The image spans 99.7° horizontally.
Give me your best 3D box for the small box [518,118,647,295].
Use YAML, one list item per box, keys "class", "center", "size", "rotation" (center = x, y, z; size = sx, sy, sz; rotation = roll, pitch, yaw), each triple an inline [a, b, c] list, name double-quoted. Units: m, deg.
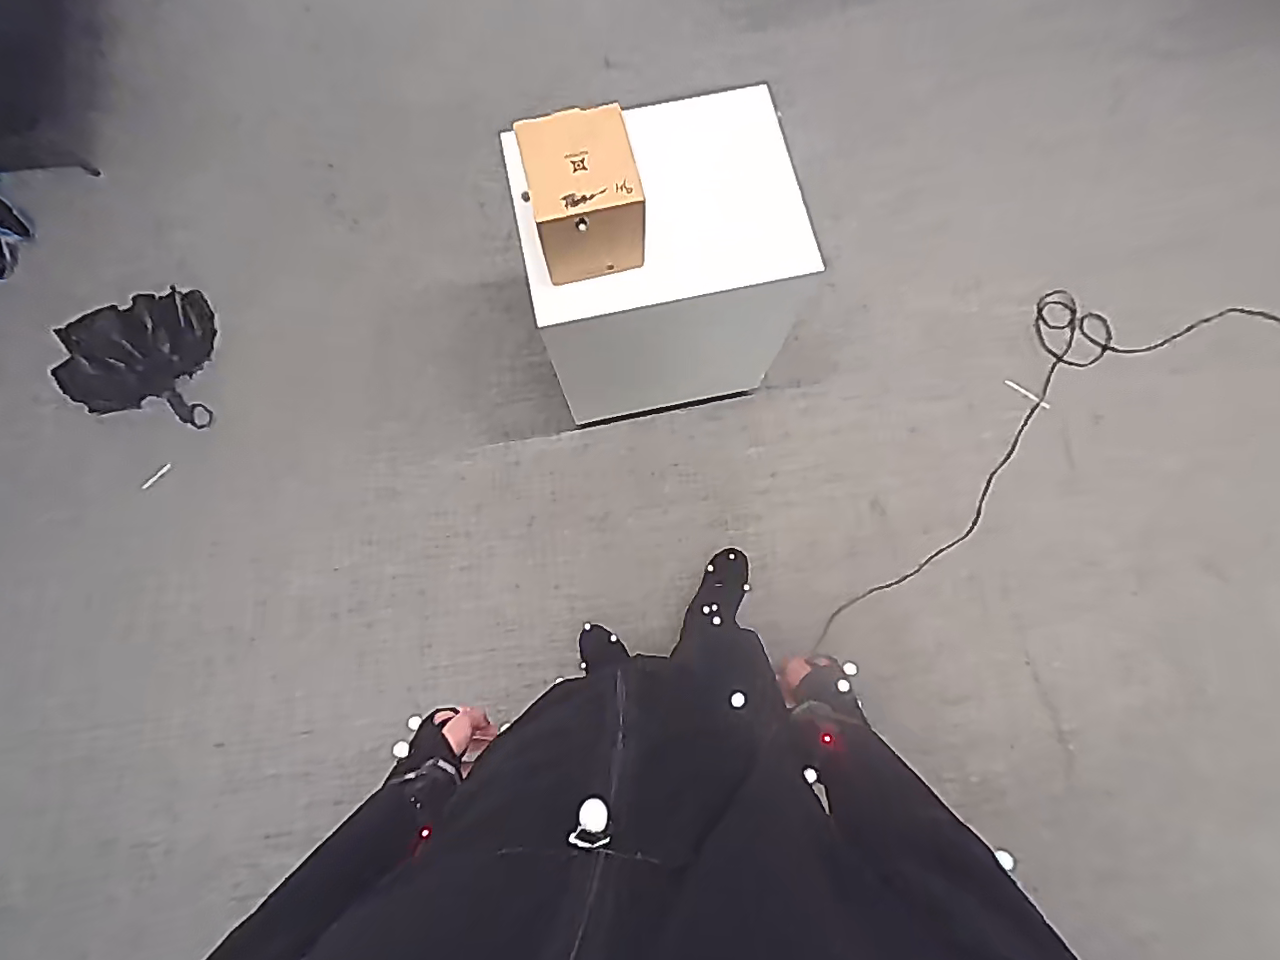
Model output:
- class: "small box"
  center: [-0.088, -0.435, 0.879]
  size: [0.168, 0.176, 0.179]
  rotation: [-14, 77, -2]
